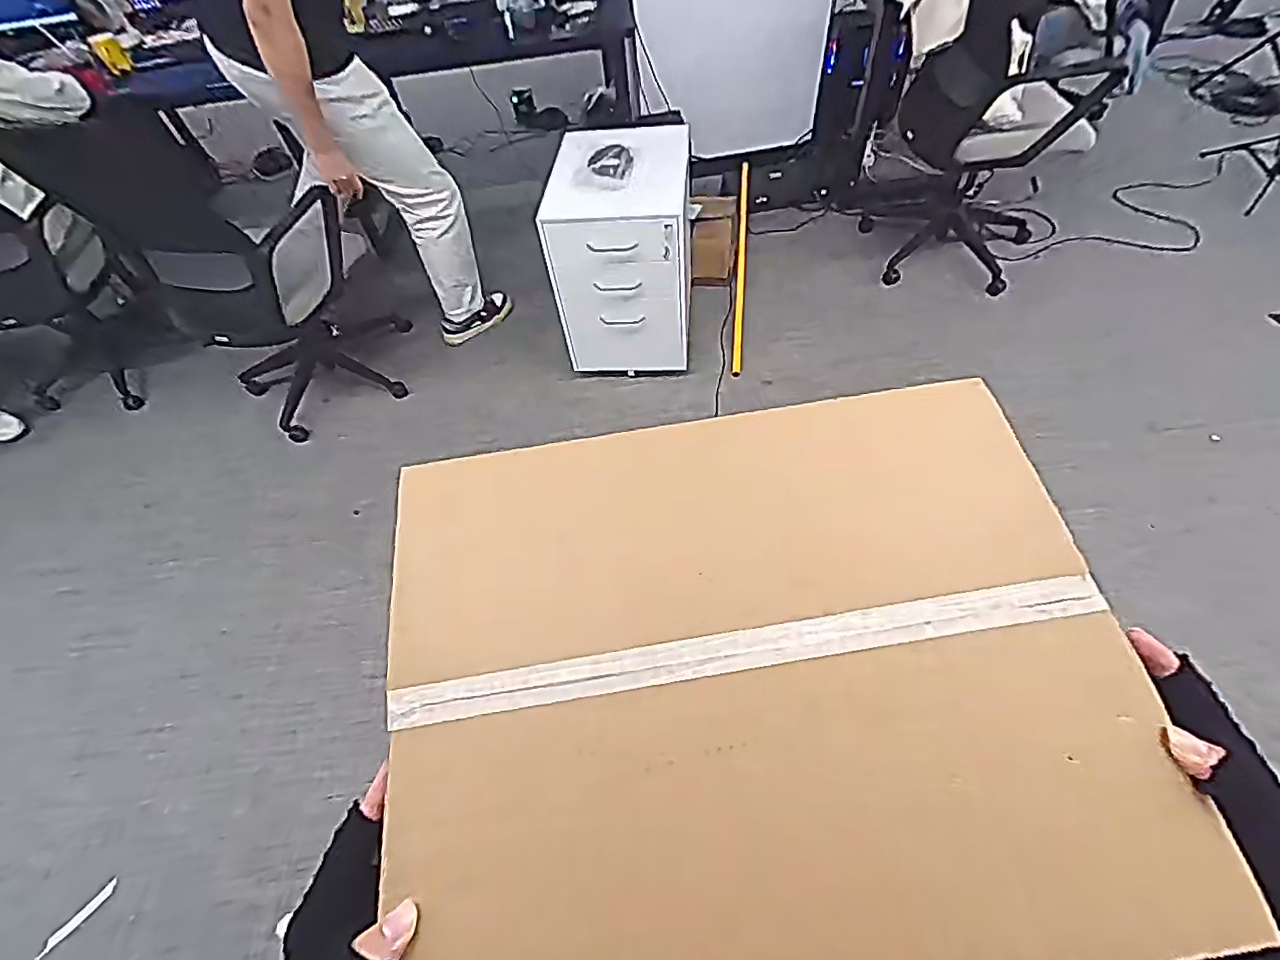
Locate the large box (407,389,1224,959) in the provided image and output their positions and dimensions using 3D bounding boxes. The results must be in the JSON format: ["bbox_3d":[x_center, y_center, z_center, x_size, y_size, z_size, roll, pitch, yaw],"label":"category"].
[{"bbox_3d":[0.070,0.168,0.452,0.408,0.320,0.320,-9,64,-1],"label":"large box"}]
